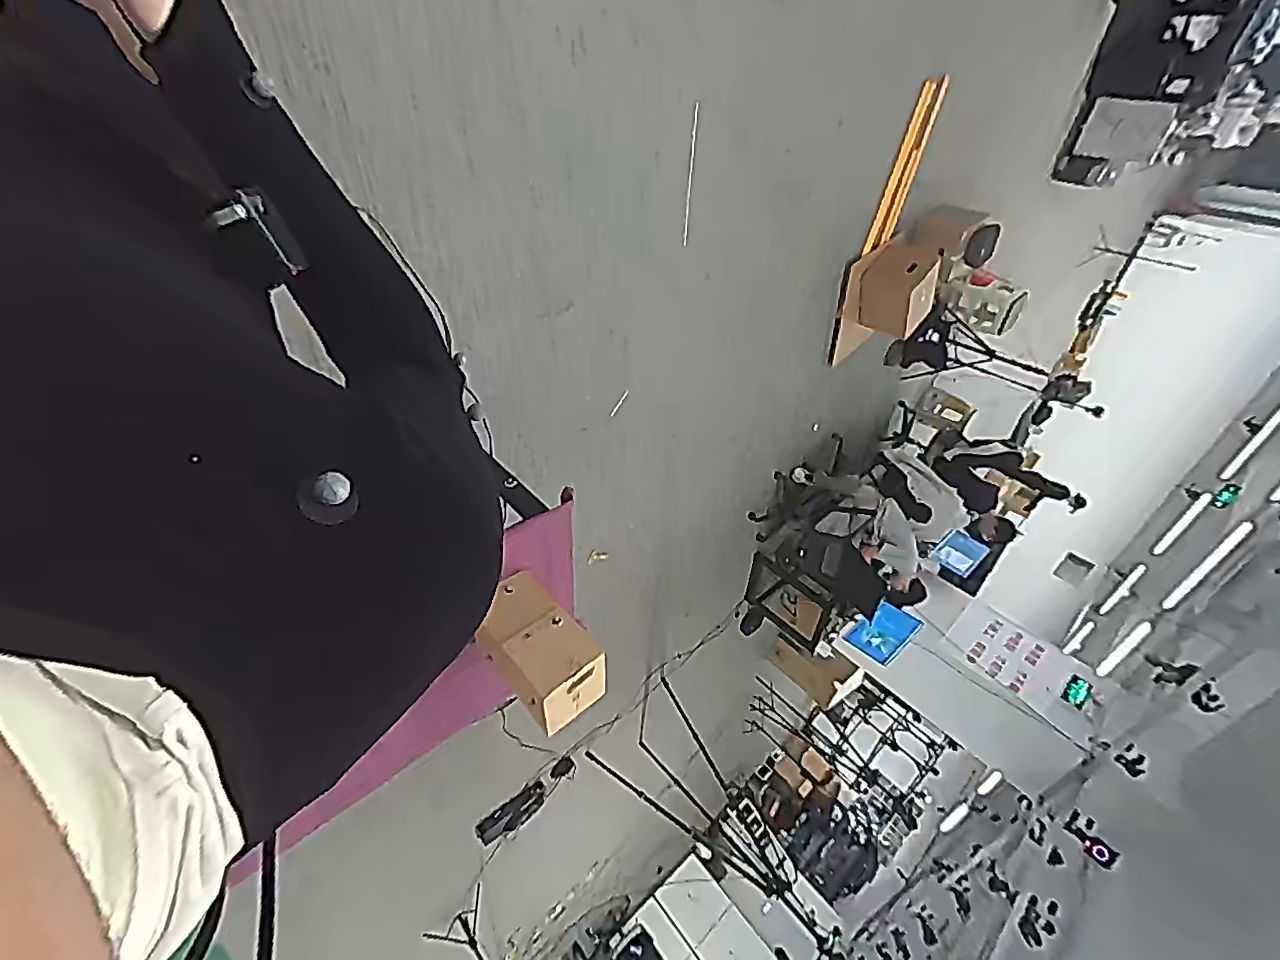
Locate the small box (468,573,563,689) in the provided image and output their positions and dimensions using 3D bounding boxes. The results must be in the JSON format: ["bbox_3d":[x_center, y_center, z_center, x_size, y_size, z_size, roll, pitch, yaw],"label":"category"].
[{"bbox_3d":[-0.300,0.365,1.329,0.168,0.176,0.179,-28,137,-32],"label":"small box"}]

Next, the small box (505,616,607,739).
[{"bbox_3d":[-0.191,0.438,1.230,0.168,0.176,0.179,-29,139,-32],"label":"small box"}]
